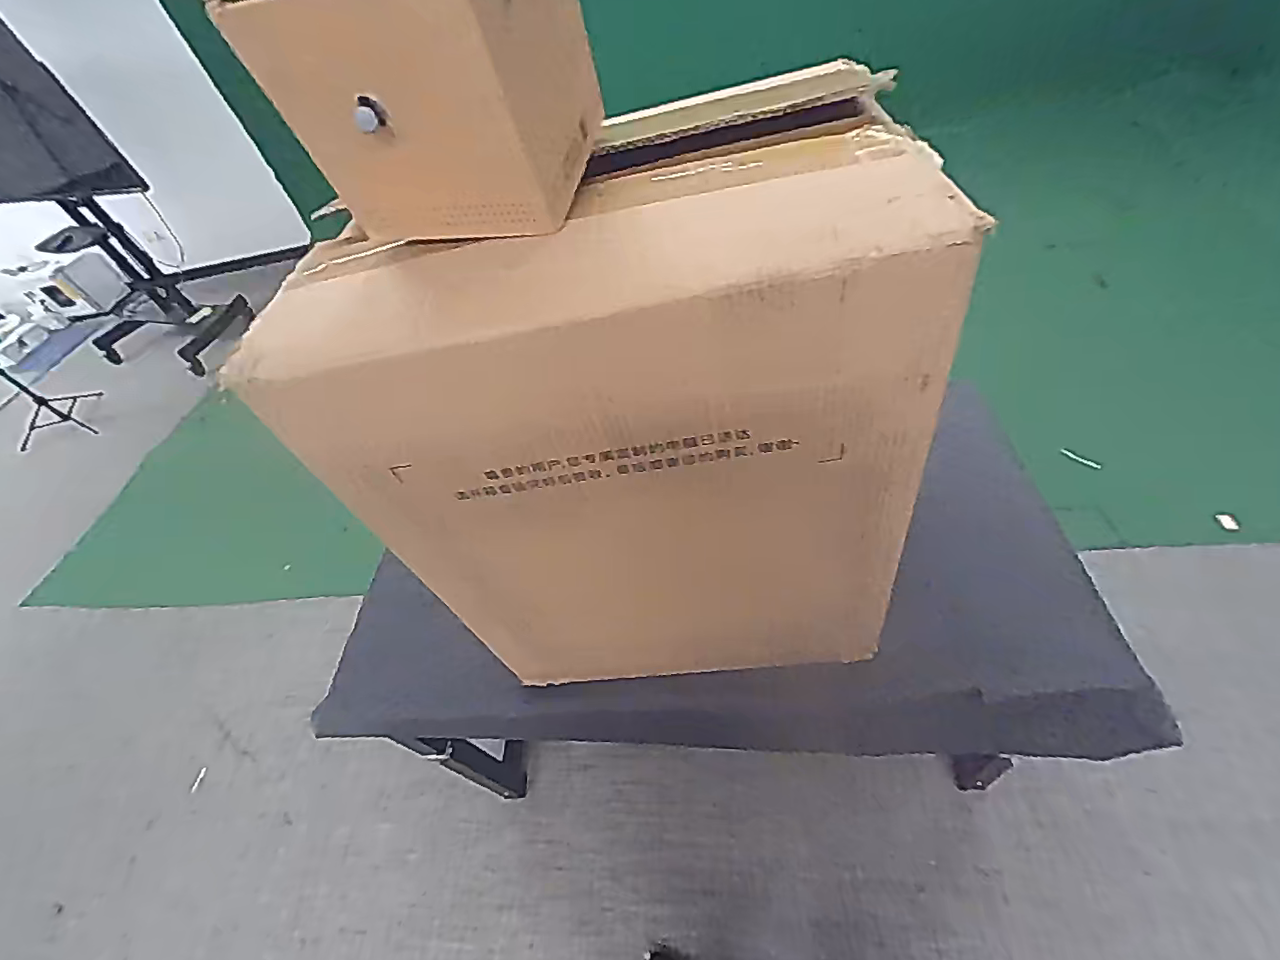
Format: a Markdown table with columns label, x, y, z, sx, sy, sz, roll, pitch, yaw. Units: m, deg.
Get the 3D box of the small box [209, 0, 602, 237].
| label | x | y | z | sx | sy | sz | roll | pitch | yaw |
| --- | --- | --- | --- | --- | --- | --- | --- | --- | --- |
| small box | -0.146 | -0.305 | 0.405 | 0.179 | 0.176 | 0.168 | 5 | 63 | 16 |
